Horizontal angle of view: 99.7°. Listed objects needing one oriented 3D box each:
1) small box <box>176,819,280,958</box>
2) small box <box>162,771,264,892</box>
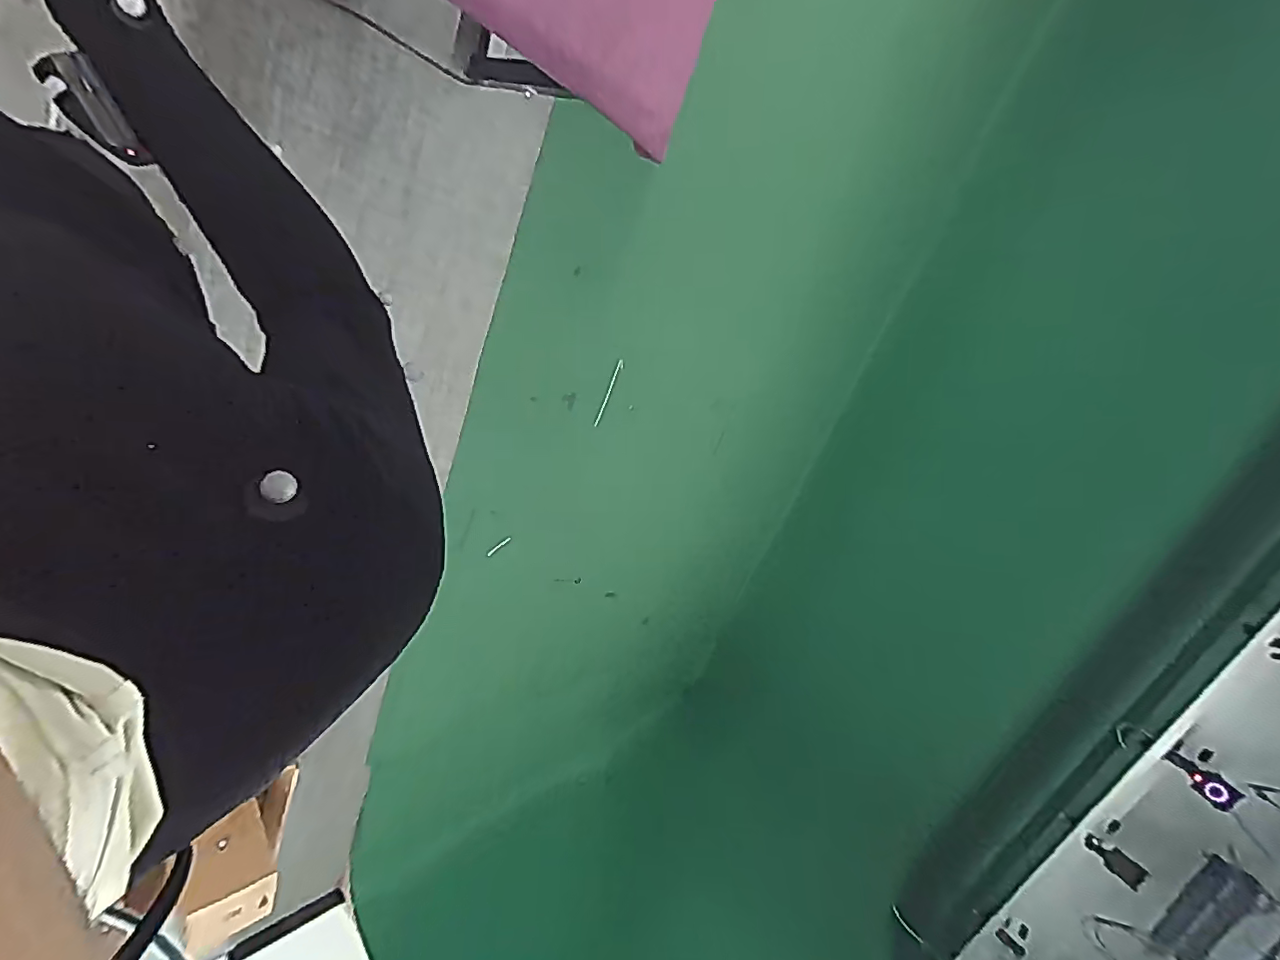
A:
[{"bbox_3d":[-1.008,0.983,1.318,0.179,0.176,0.168,-2,120,-47],"label":"small box"},{"bbox_3d":[-1.117,0.905,1.413,0.179,0.176,0.168,1,118,-48],"label":"small box"}]
